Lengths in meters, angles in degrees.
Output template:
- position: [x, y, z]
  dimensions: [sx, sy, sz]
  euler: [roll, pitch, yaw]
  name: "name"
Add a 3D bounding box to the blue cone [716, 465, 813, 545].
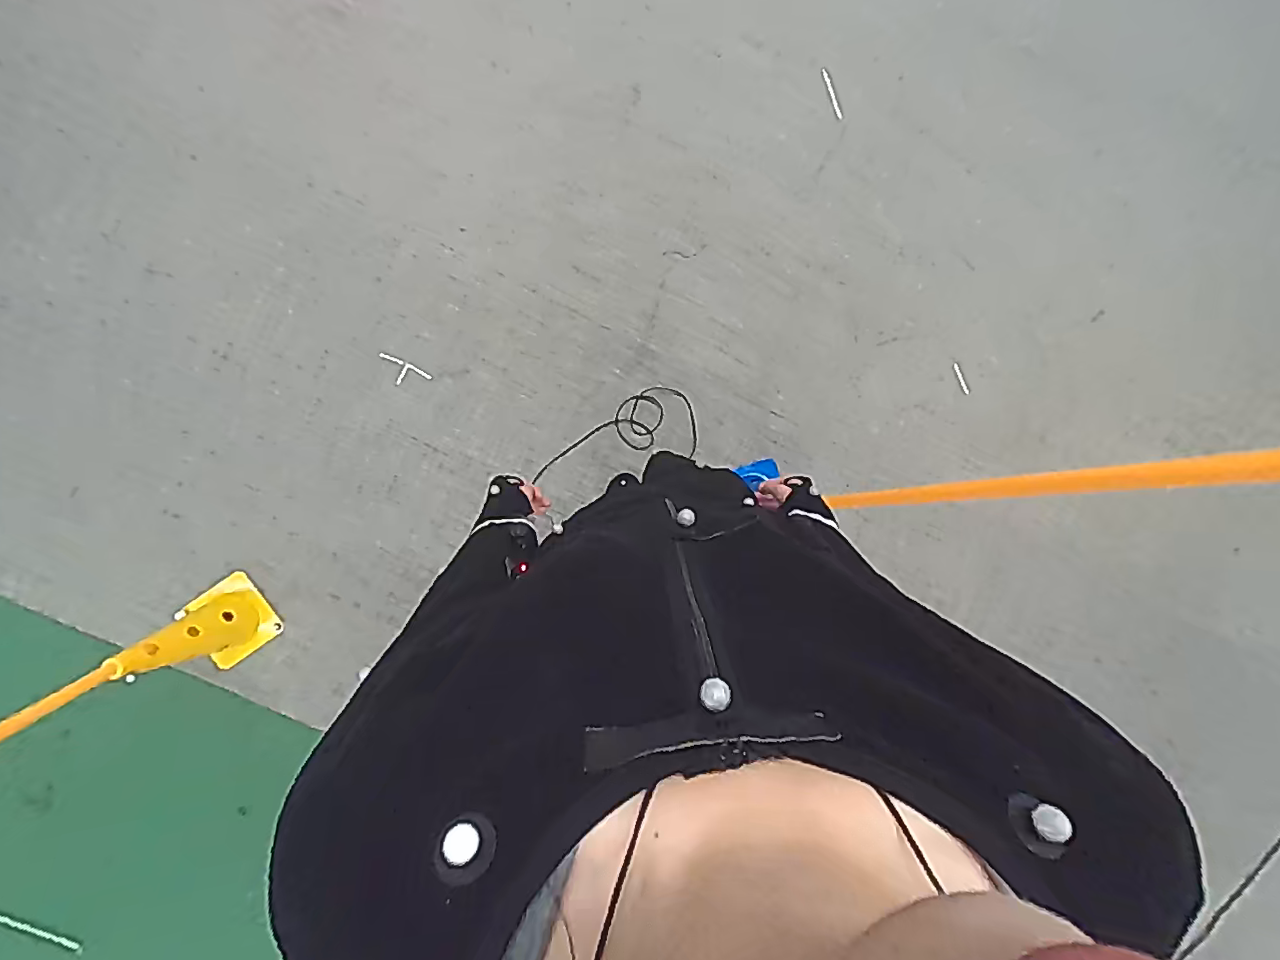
- position: [0.333, 0.062, 1.341]
  dimensions: [0.193, 0.380, 0.192]
  euler: [-20, 91, -6]
  name: "blue cone"
